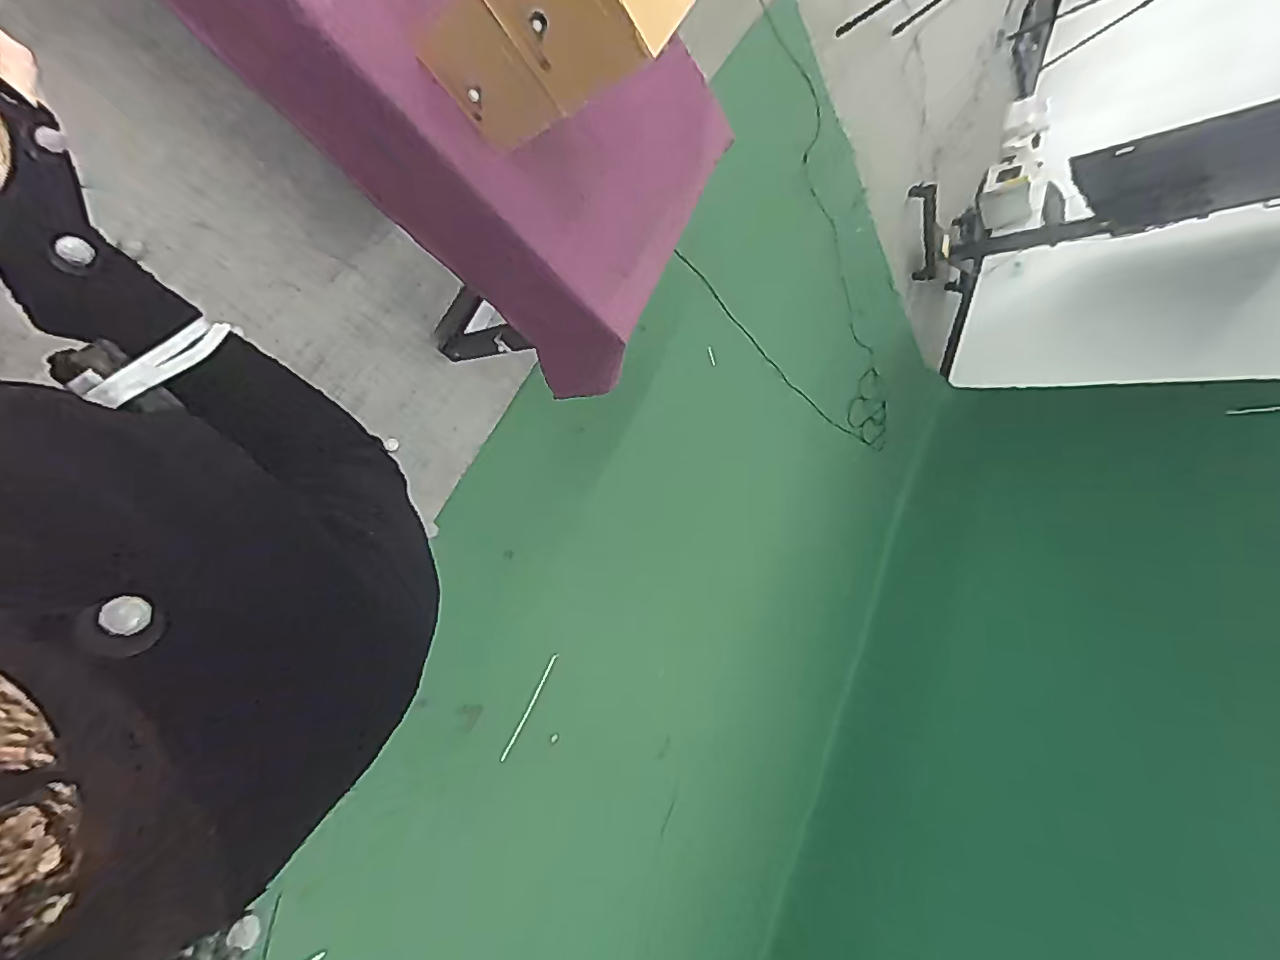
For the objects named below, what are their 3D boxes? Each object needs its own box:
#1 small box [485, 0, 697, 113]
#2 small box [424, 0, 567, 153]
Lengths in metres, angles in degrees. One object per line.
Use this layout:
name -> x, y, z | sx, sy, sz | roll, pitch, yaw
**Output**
small box -> -0.053, -0.595, 0.648 | 0.168, 0.176, 0.179 | 42, 67, -39
small box -> -0.170, -0.610, 0.761 | 0.168, 0.176, 0.179 | 42, 66, -39
